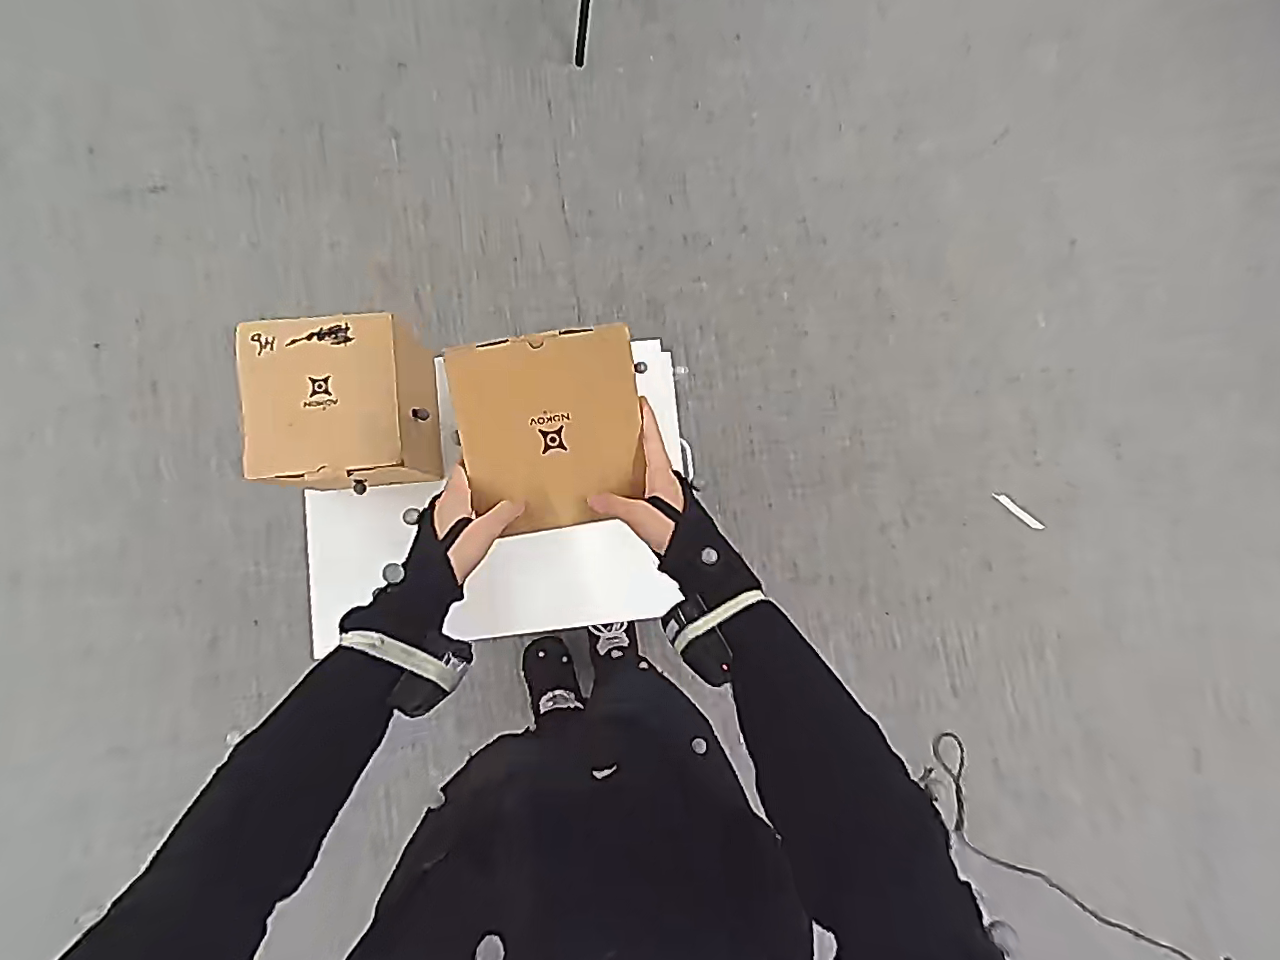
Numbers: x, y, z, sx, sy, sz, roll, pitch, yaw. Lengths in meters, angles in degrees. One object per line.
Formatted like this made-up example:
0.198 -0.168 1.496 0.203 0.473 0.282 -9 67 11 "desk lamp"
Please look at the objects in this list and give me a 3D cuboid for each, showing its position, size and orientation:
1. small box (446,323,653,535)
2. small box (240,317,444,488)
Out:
-0.084 -0.057 0.573 0.168 0.176 0.179 -10 99 -3 "small box"
-0.351 -0.083 0.668 0.168 0.176 0.179 -6 87 -6 "small box"
